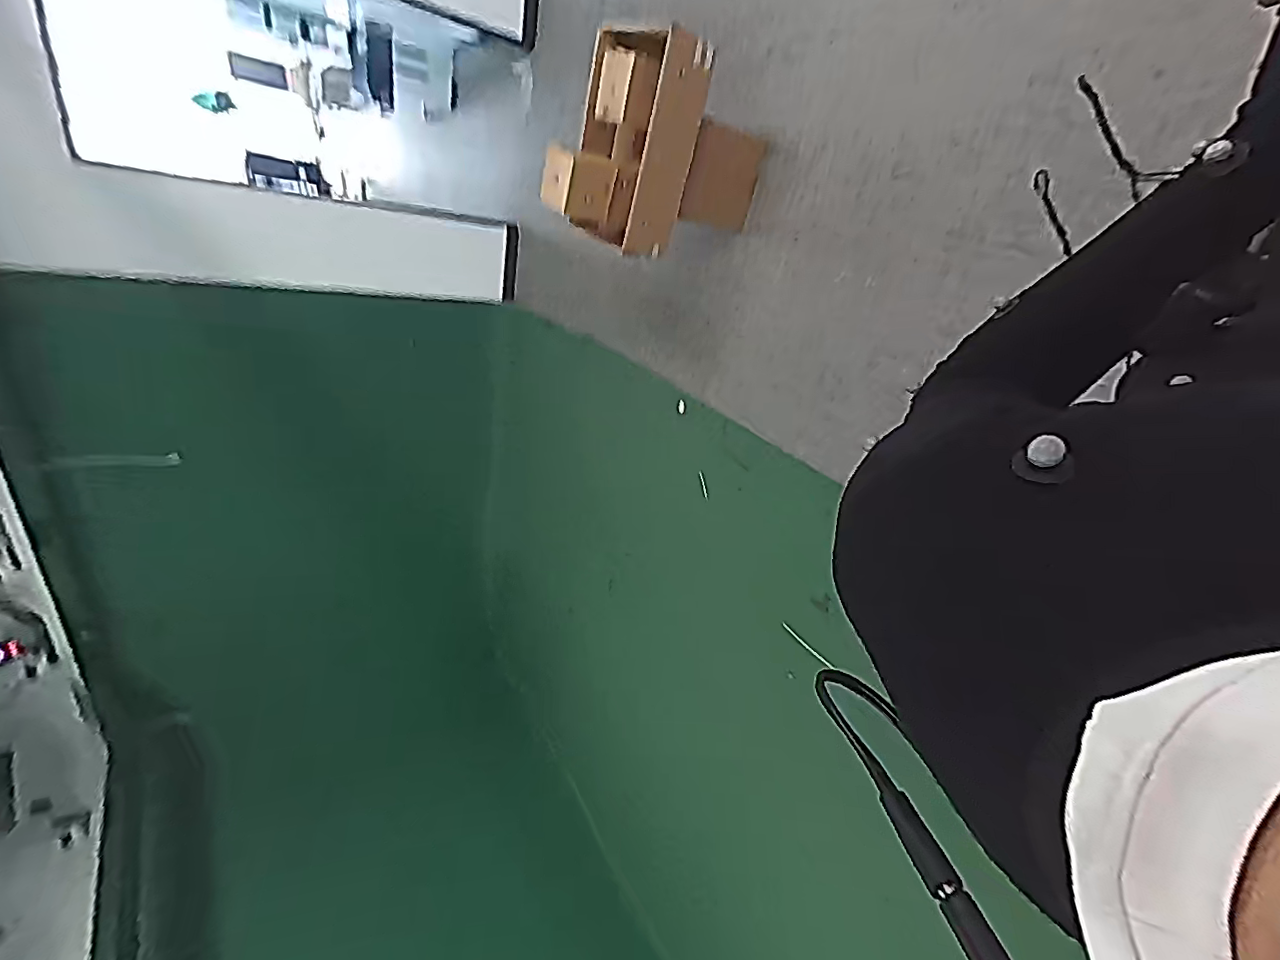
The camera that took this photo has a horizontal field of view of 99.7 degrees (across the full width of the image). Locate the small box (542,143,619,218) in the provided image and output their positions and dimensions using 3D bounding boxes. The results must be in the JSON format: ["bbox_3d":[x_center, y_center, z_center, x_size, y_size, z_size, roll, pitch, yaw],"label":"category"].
[{"bbox_3d":[-0.191,-0.962,1.745,0.179,0.176,0.168,48,132,37],"label":"small box"}]
